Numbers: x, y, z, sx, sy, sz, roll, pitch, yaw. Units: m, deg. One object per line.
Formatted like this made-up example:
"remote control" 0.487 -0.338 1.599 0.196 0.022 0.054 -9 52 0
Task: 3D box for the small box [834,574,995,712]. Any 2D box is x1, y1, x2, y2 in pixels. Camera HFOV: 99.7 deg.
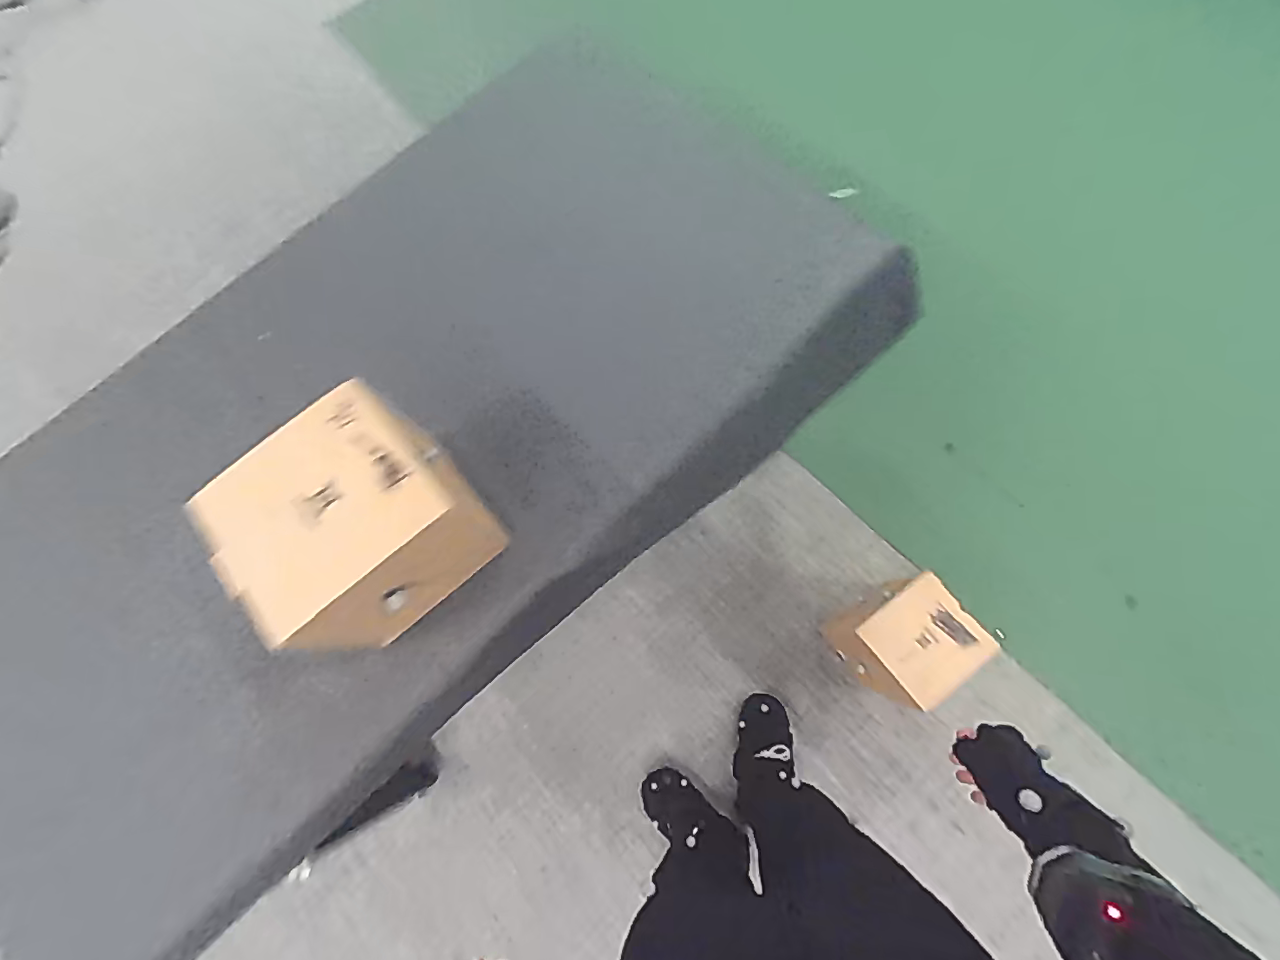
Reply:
"small box" 0.490 0.295 0.997 0.179 0.176 0.168 -35 73 -5

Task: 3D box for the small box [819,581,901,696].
"small box" 0.512 0.336 1.156 0.179 0.176 0.168 -35 74 -4

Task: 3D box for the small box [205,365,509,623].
"small box" -0.262 0.028 0.541 0.179 0.176 0.168 -39 75 -6
